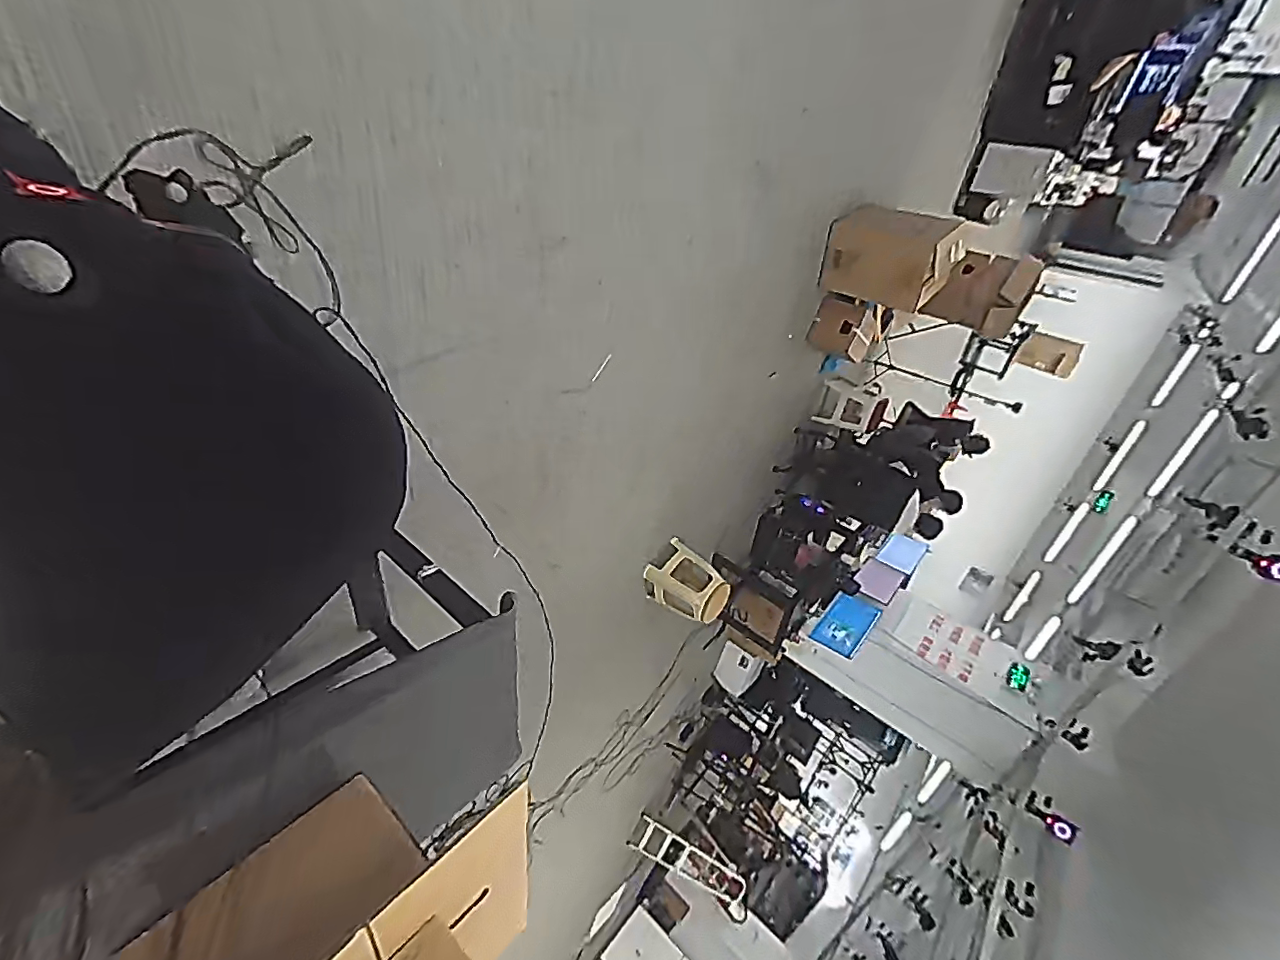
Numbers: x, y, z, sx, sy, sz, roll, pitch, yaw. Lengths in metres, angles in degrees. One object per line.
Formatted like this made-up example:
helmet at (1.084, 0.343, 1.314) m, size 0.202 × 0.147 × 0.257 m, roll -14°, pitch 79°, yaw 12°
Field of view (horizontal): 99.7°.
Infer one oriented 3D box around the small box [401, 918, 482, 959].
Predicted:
small box at (-0.325, 0.862, 0.865) m, size 0.168 × 0.176 × 0.179 m, roll -30°, pitch 138°, yaw -43°
